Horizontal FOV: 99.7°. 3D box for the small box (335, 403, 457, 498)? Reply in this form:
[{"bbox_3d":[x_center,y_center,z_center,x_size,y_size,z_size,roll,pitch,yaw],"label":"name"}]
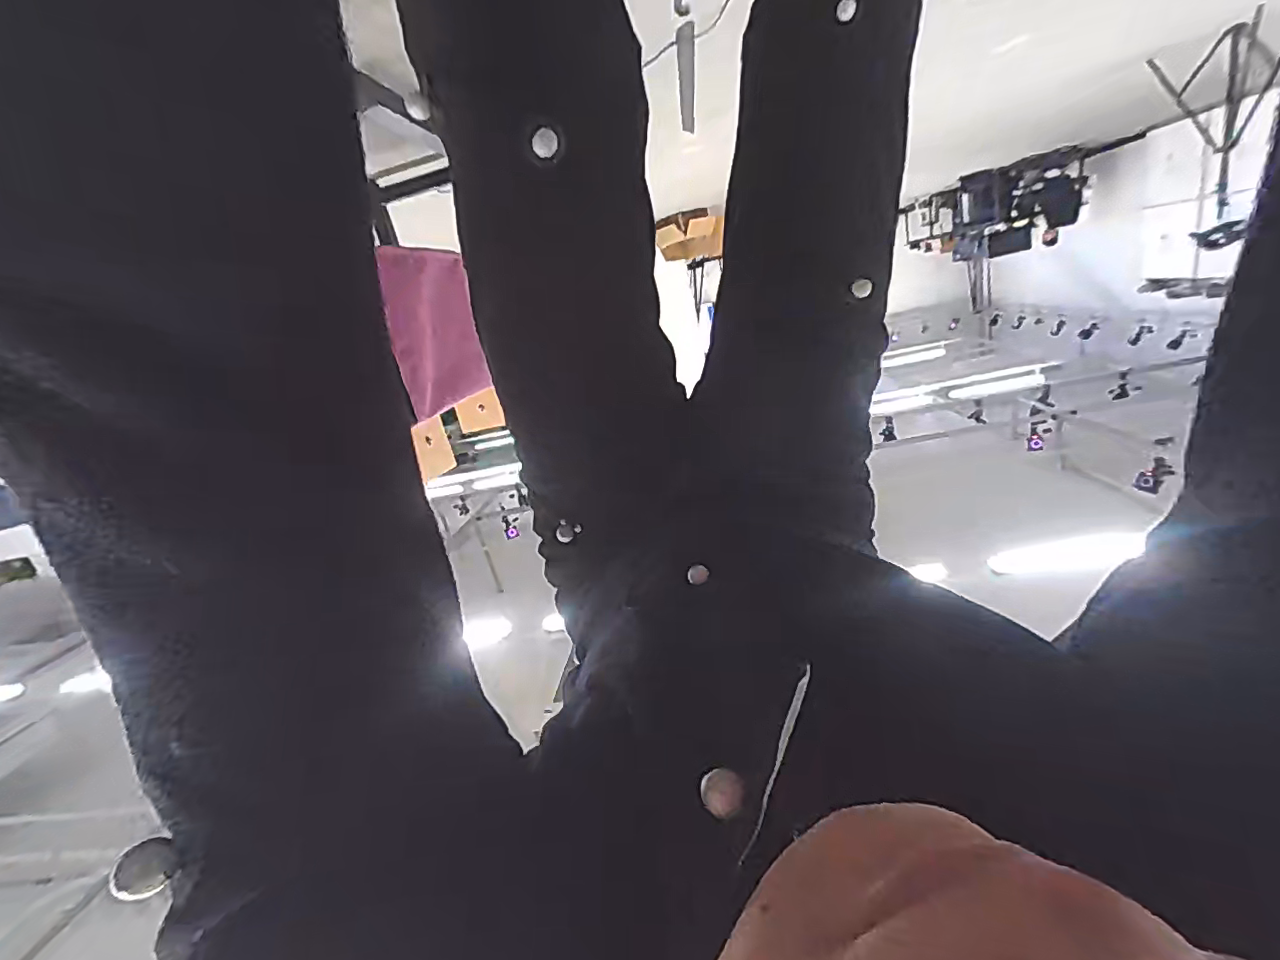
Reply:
[{"bbox_3d":[-0.569,-0.076,1.268,0.179,0.176,0.168,-8,-161,17],"label":"small box"}]

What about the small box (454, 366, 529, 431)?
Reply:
[{"bbox_3d":[-0.500,-0.276,1.810,0.179,0.176,0.168,-10,-161,15],"label":"small box"}]
